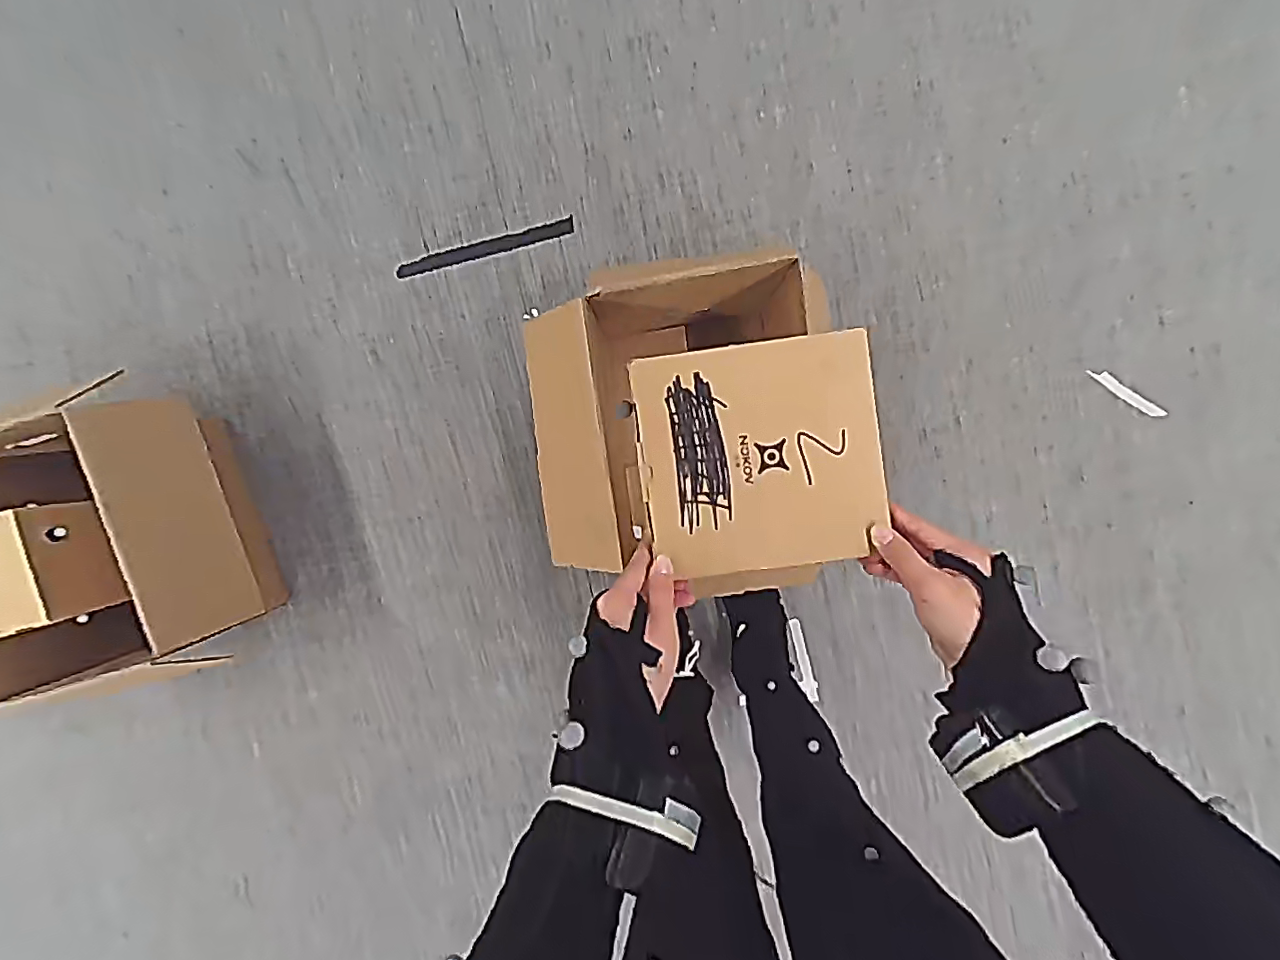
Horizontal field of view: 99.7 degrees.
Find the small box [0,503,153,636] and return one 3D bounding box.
[{"bbox_3d":[-0.947,0.138,0.865,0.168,0.176,0.179,-14,93,4],"label":"small box"}]
